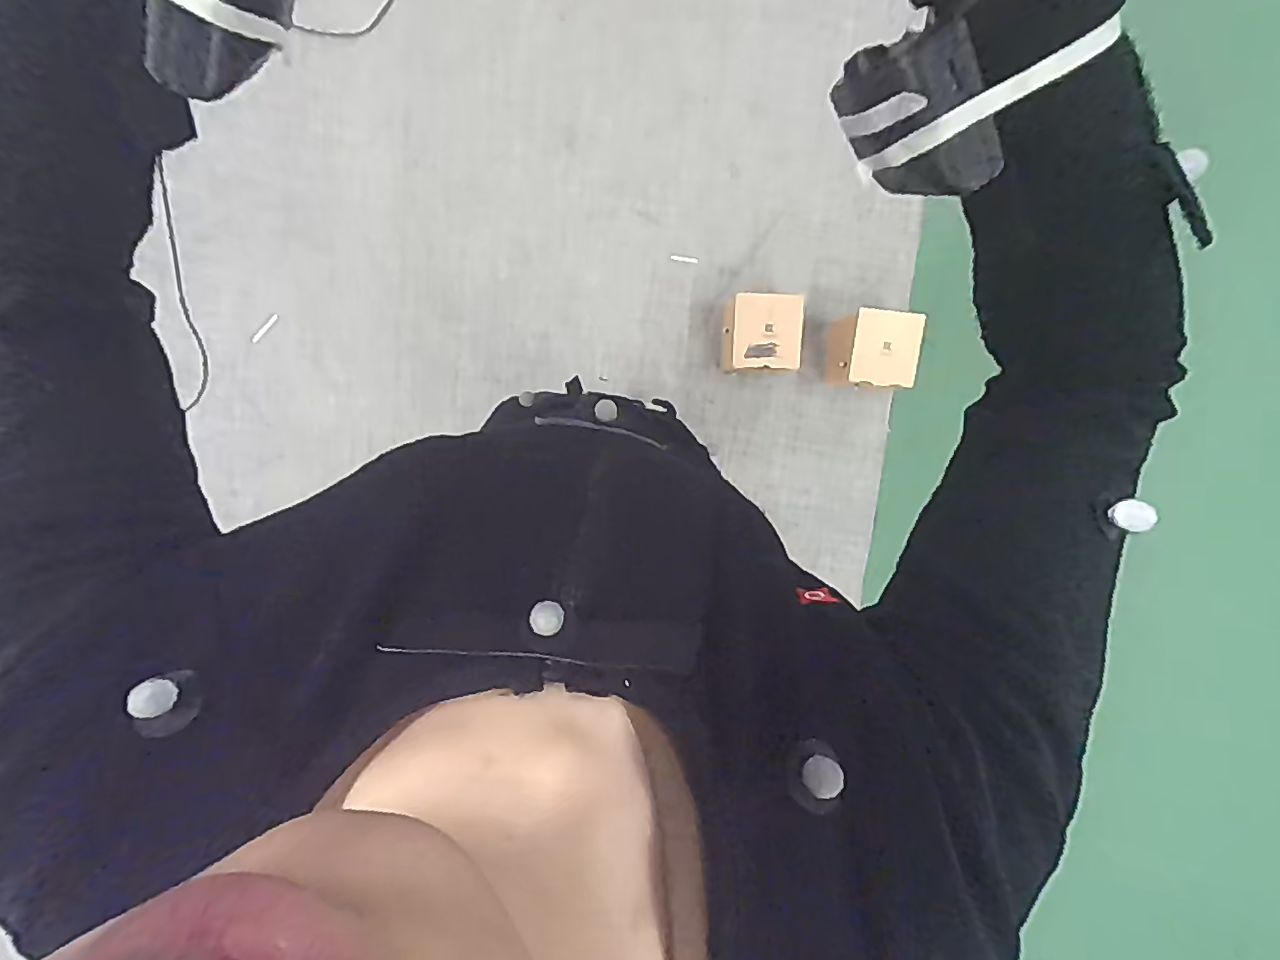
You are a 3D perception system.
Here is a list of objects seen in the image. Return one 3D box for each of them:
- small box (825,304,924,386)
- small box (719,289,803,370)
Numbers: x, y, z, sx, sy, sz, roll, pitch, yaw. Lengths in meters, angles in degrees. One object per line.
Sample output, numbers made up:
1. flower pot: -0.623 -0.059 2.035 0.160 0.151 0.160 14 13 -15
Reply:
1. small box: 0.586 -0.337 1.374 0.168 0.176 0.179 5 99 -3
2. small box: 0.295 -0.370 1.353 0.168 0.176 0.179 1 98 -3
